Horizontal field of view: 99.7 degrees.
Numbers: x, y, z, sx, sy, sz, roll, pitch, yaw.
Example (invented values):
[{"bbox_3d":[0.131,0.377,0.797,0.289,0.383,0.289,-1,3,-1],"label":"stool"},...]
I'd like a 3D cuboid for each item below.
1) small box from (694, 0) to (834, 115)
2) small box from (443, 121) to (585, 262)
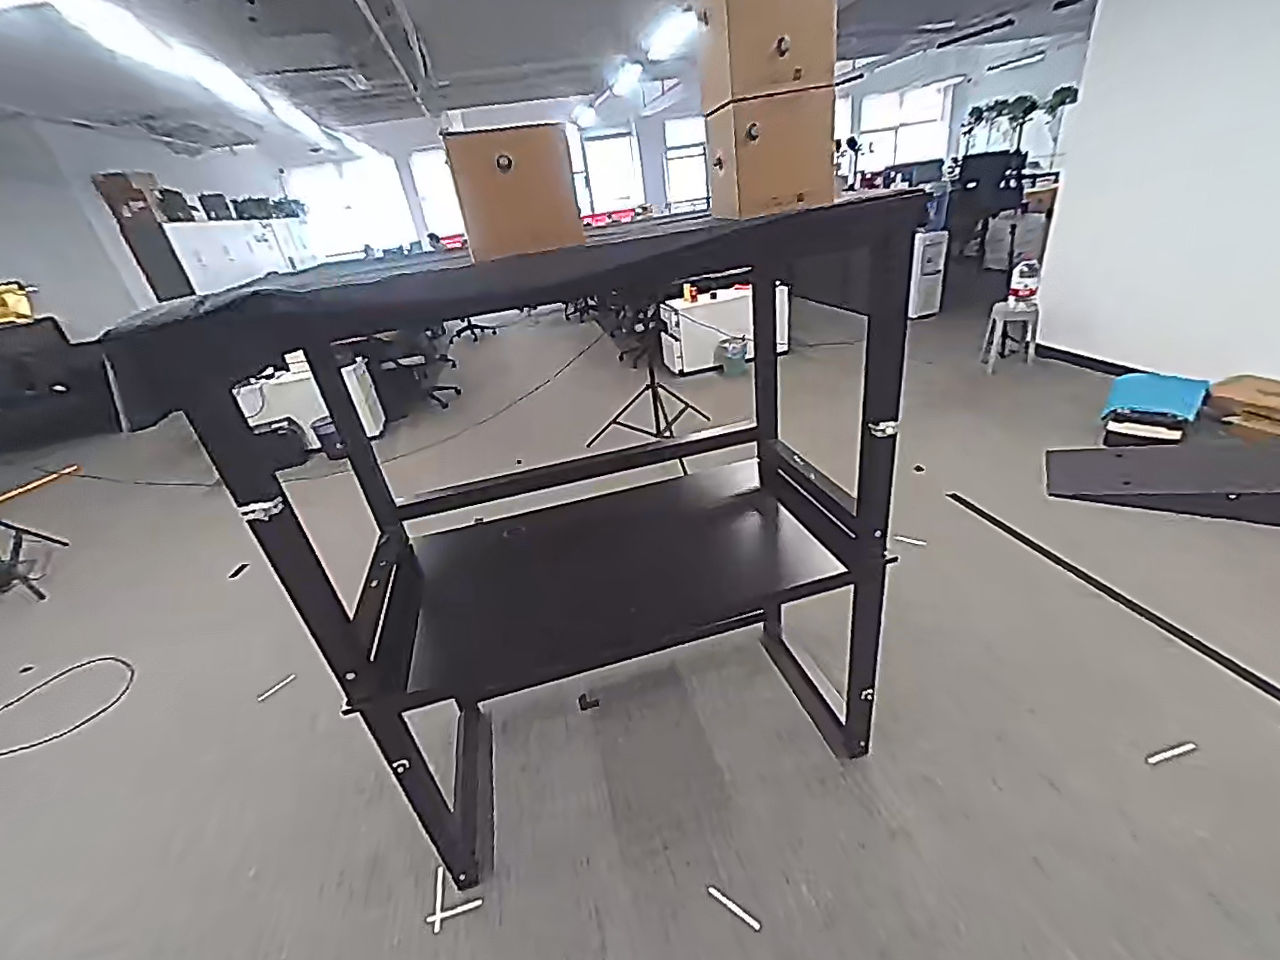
[{"bbox_3d":[0.191,-0.697,0.856,0.168,0.176,0.179,-13,28,-4],"label":"small box"},{"bbox_3d":[-0.199,-0.450,0.863,0.179,0.176,0.168,-14,27,-12],"label":"small box"}]
